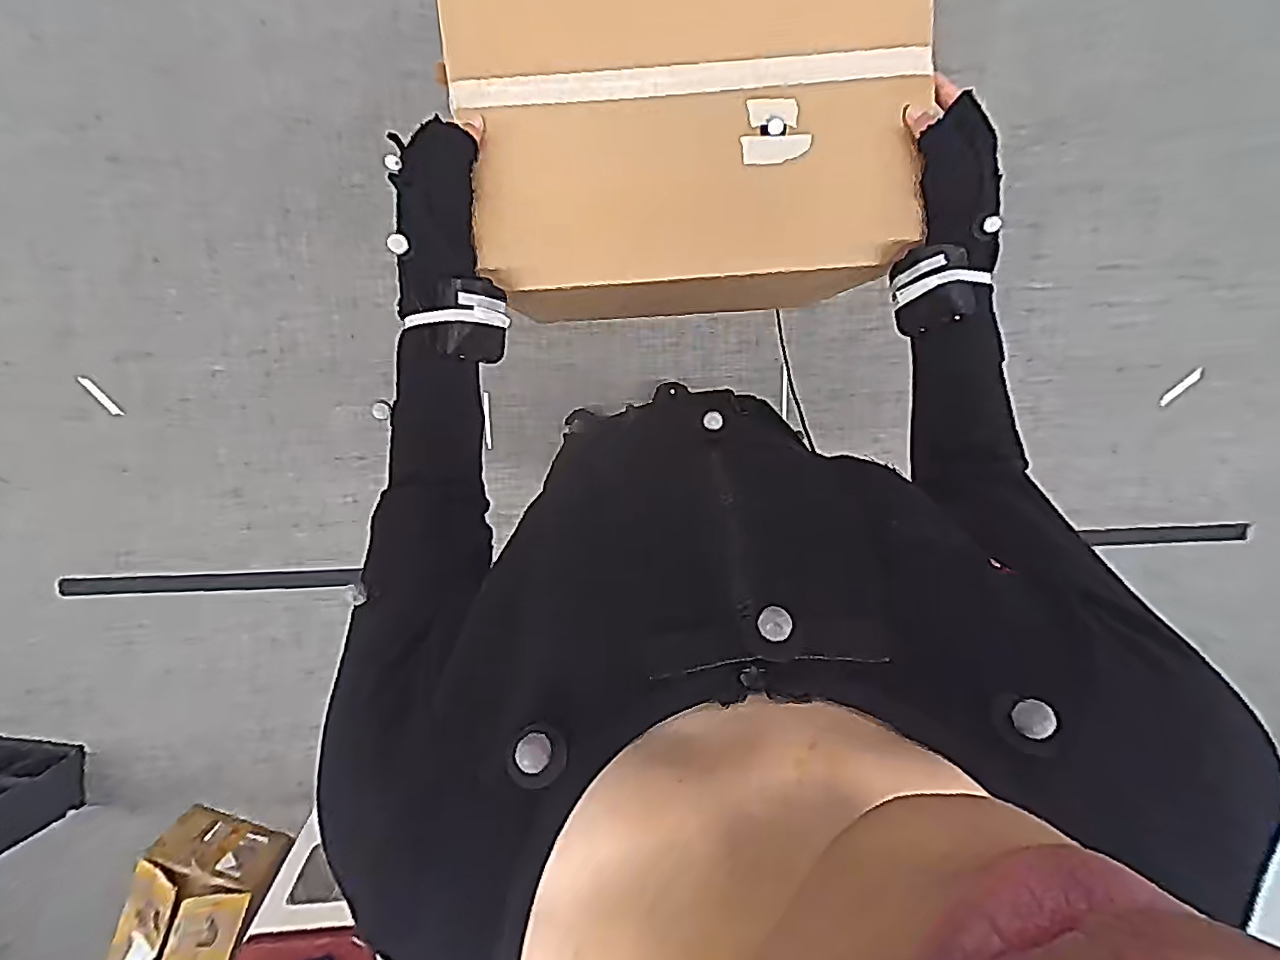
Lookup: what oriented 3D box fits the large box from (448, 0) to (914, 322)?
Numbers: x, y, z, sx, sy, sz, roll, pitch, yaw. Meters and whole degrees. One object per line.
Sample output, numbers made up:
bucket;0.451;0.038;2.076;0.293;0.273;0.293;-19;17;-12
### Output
large box;0.036;-0.372;0.620;0.408;0.320;0.320;-5;102;-1
